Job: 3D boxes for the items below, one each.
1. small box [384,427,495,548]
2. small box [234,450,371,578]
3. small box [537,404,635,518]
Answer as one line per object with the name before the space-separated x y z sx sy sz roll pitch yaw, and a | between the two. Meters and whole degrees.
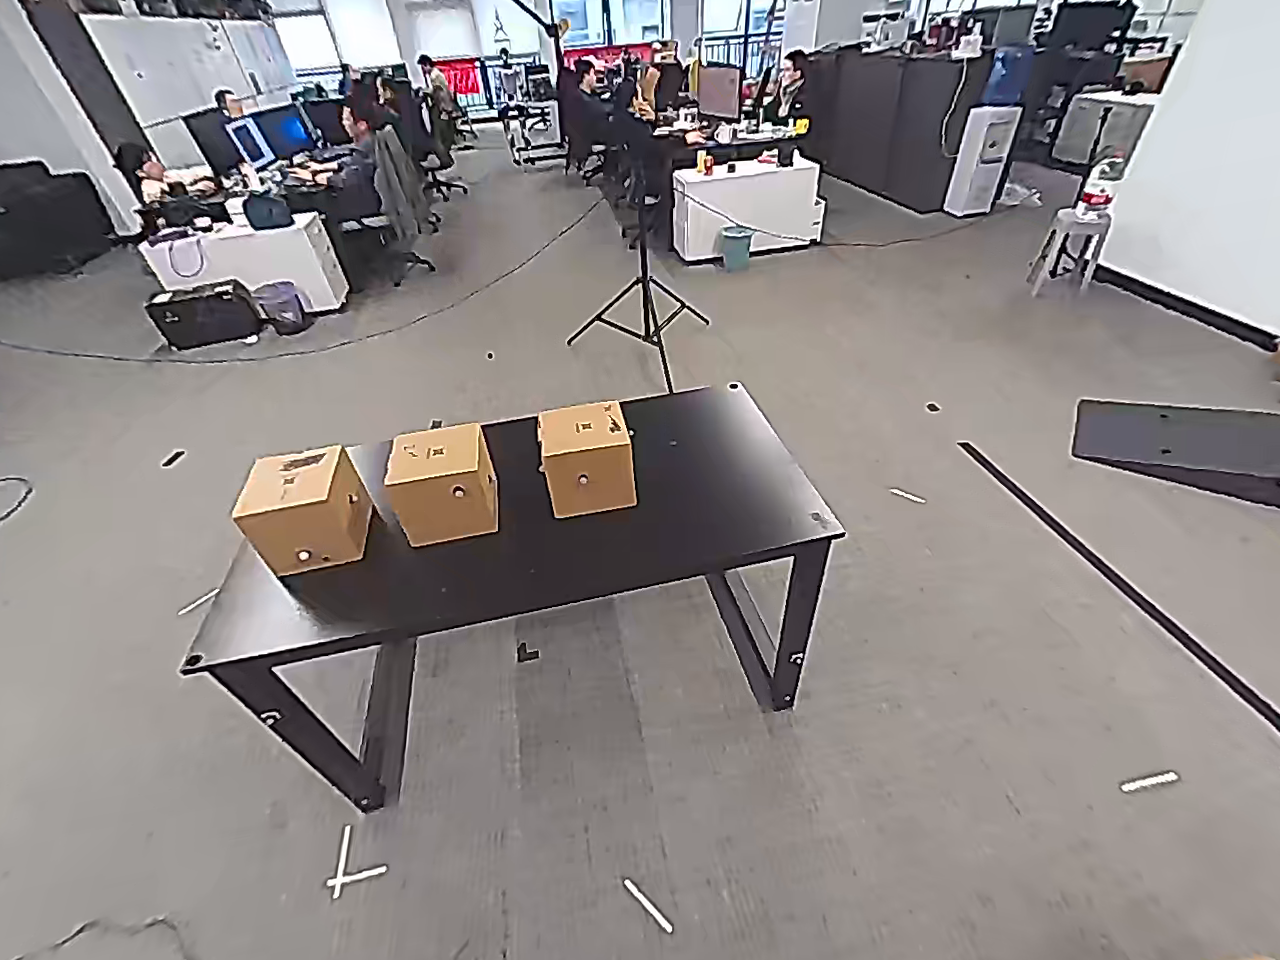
small box | -0.401 0.016 1.119 0.179 0.176 0.168 -11 40 -8
small box | -0.660 0.067 1.086 0.168 0.176 0.179 -12 42 -8
small box | -0.114 -0.037 1.156 0.179 0.176 0.168 -10 41 -5
